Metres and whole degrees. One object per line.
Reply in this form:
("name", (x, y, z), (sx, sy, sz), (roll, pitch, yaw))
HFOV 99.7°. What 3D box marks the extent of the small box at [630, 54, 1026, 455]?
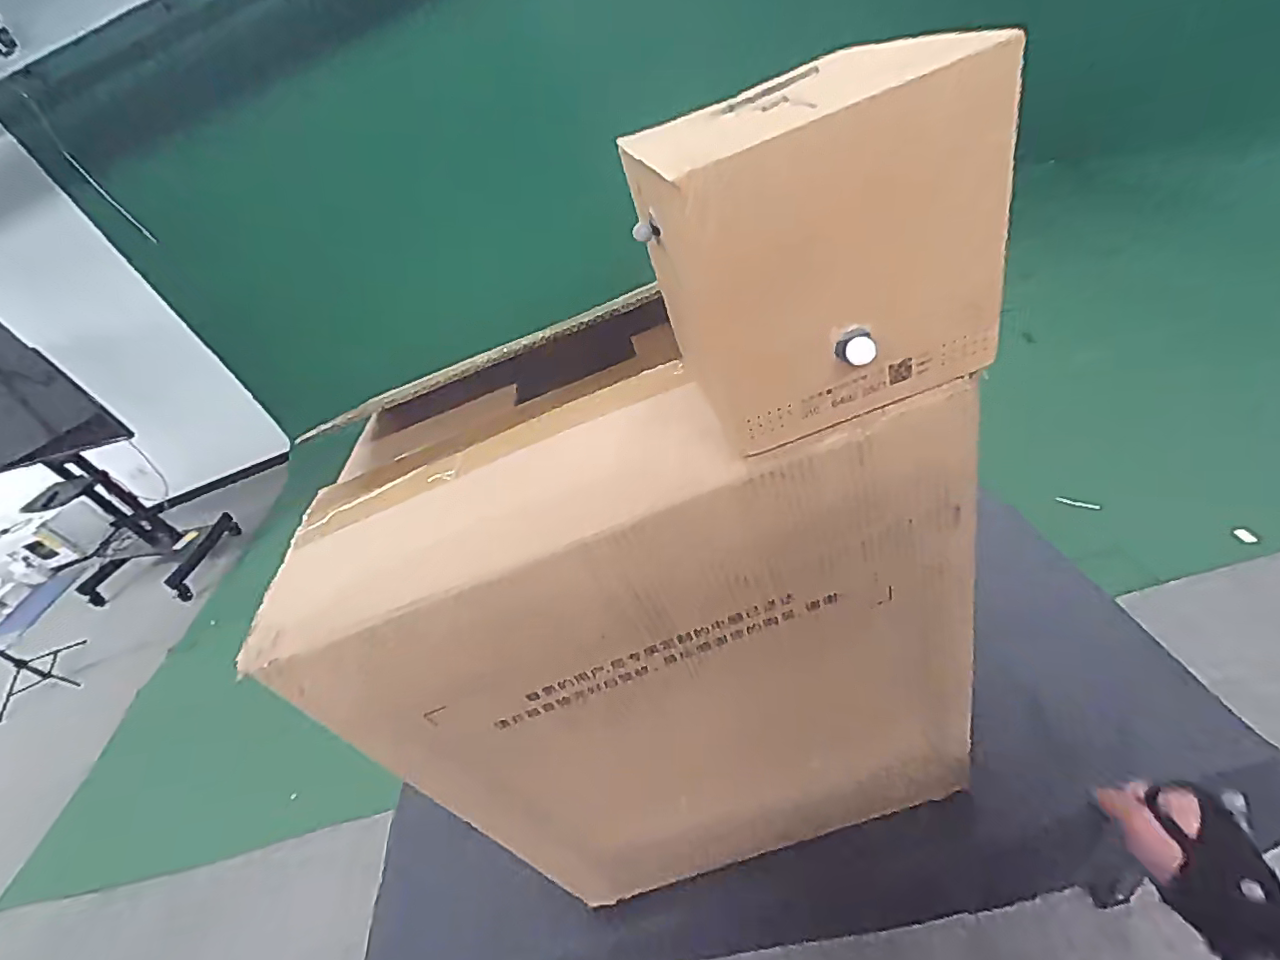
("small box", (0.105, -0.146, 0.357), (0.168, 0.176, 0.179), (-21, 38, 4))
